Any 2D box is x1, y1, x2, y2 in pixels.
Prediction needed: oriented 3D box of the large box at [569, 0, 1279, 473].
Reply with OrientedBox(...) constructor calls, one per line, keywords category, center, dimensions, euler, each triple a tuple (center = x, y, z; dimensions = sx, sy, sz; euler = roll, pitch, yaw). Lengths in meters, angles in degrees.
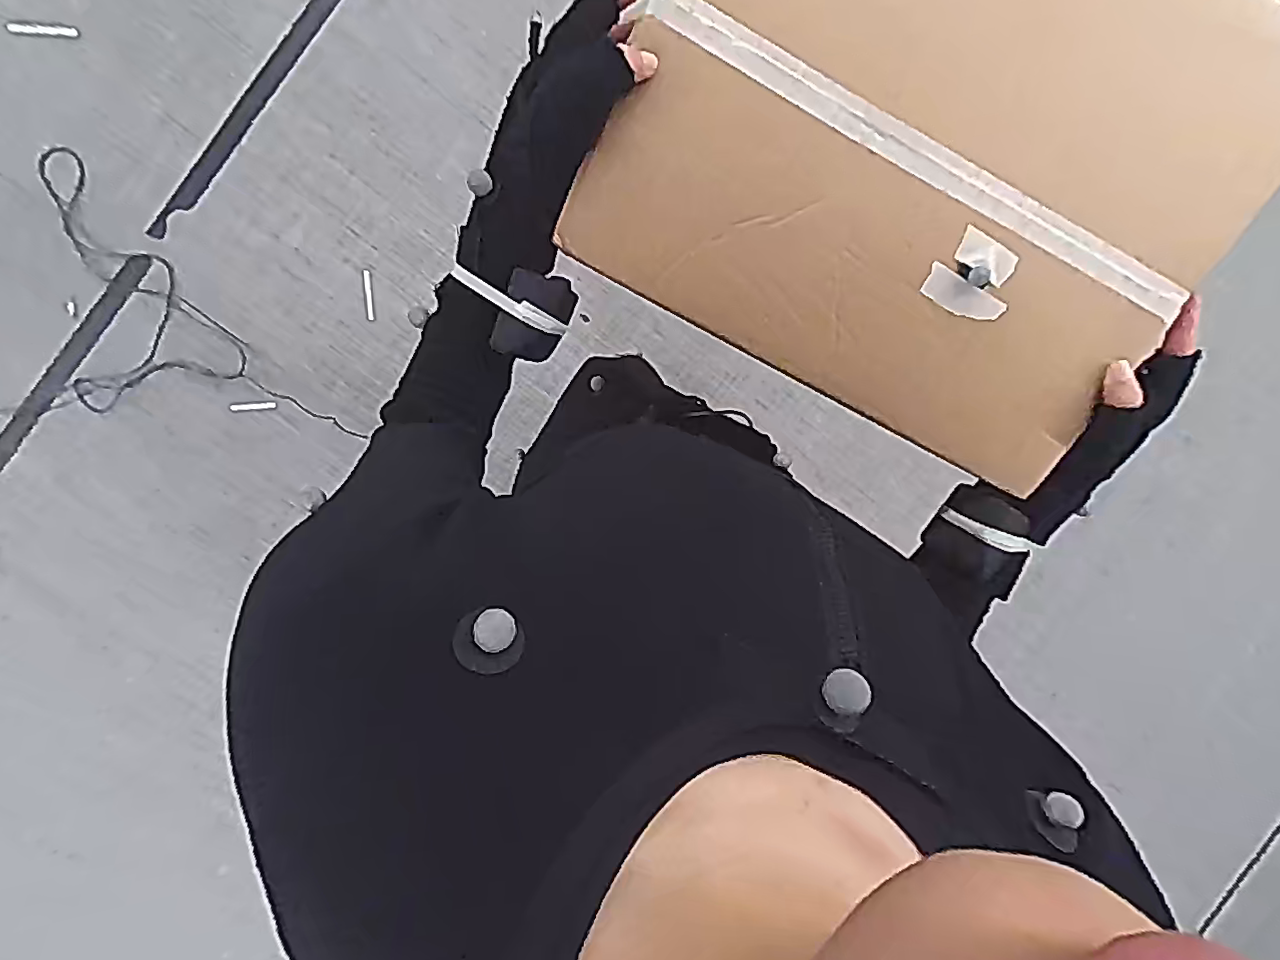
OrientedBox(category="large box", center=(0.195, -0.264, 0.504), dimensions=(0.408, 0.320, 0.320), euler=(27, 109, -7))
